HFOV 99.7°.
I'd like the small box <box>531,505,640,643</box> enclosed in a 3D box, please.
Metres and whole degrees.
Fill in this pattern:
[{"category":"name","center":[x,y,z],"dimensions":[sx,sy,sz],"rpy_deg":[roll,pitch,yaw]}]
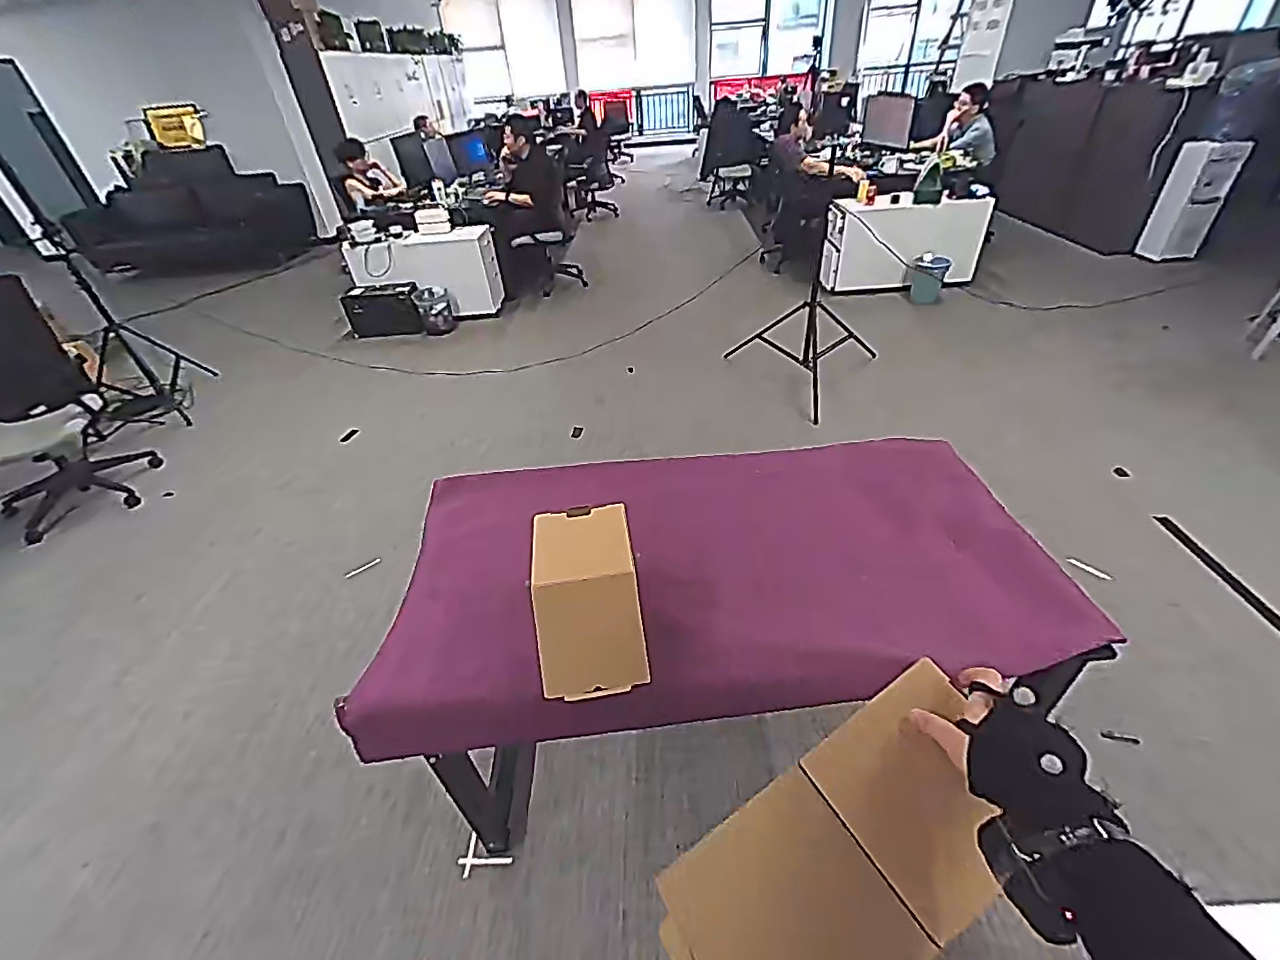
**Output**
[{"category":"small box","center":[-0.095,0.172,0.965],"dimensions":[0.168,0.176,0.179],"rpy_deg":[-7,36,-4]}]
